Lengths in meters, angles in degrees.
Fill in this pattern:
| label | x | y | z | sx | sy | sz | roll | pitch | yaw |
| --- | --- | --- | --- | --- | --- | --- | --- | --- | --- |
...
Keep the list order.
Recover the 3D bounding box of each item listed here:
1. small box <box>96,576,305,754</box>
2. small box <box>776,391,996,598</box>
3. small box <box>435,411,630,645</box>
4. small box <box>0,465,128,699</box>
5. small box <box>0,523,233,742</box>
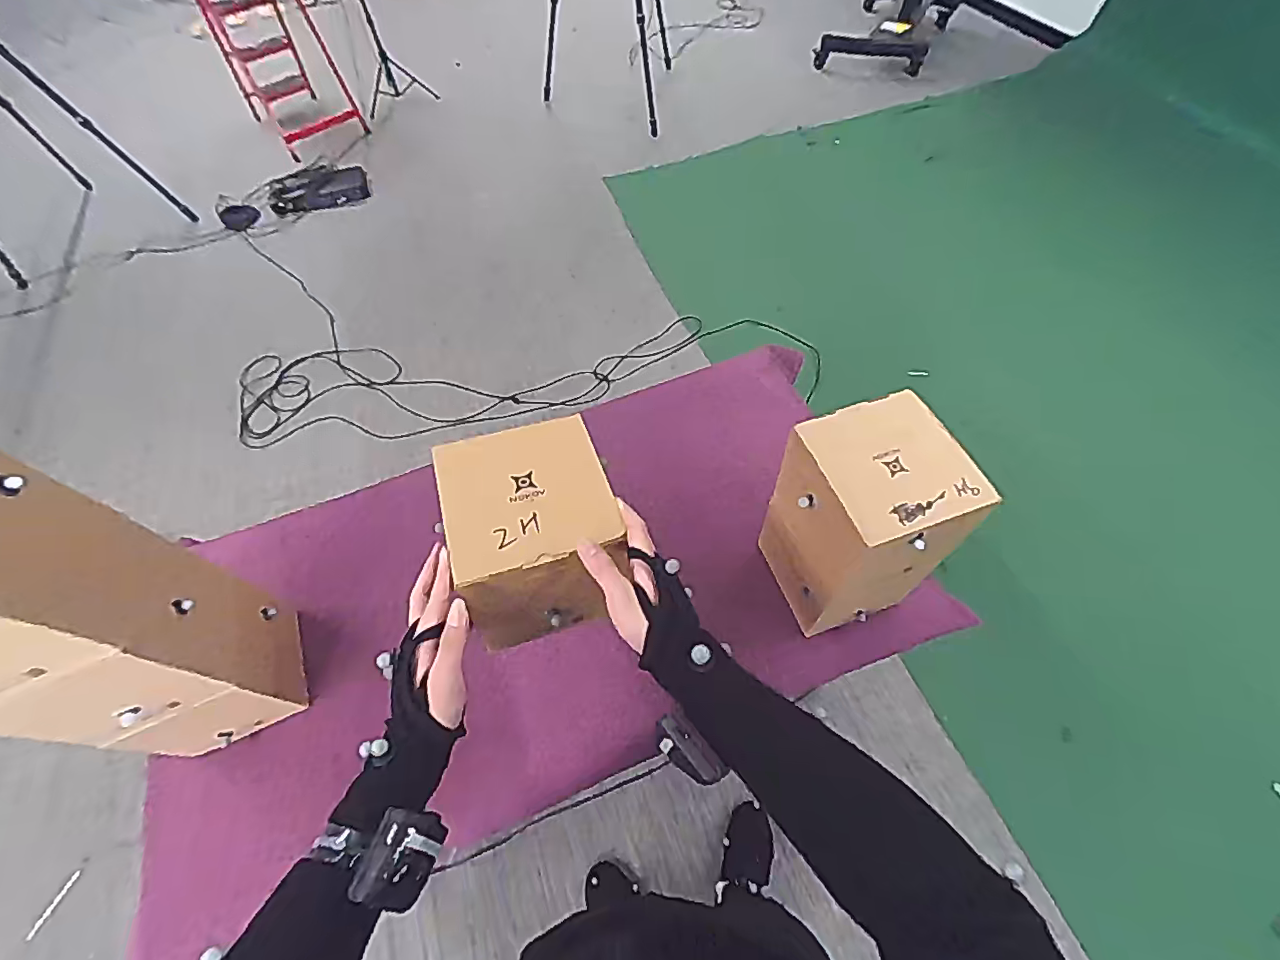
| label | x | y | z | sx | sy | sz | roll | pitch | yaw |
| --- | --- | --- | --- | --- | --- | --- | --- | --- | --- |
| small box | -0.621 | 0.273 | 0.784 | 0.168 | 0.176 | 0.179 | -23 | 61 | -10 |
| small box | 0.289 | 0.023 | 0.689 | 0.168 | 0.176 | 0.179 | -18 | 58 | -6 |
| small box | -0.117 | 0.055 | 0.604 | 0.168 | 0.176 | 0.179 | -15 | 55 | -13 |
| small box | -0.637 | 0.102 | 0.507 | 0.168 | 0.176 | 0.179 | -24 | 60 | -10 |
| small box | -0.628 | 0.186 | 0.646 | 0.168 | 0.176 | 0.179 | -23 | 61 | -10 |
